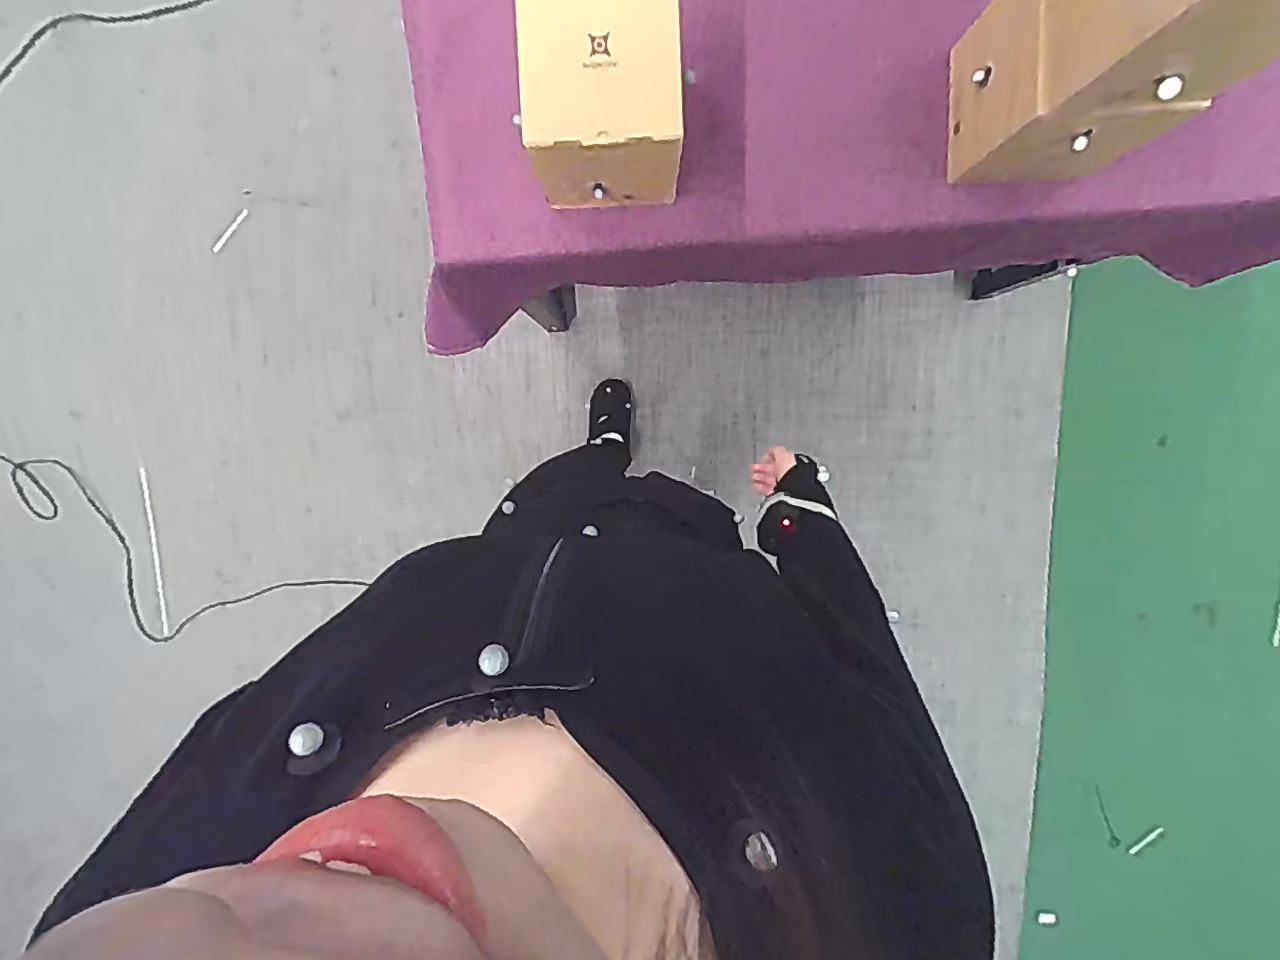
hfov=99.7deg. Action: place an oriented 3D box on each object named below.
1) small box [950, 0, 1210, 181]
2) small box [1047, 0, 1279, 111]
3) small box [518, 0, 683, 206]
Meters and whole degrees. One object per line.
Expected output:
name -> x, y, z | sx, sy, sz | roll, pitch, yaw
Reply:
small box -> 0.481, -0.460, 0.613 | 0.179, 0.176, 0.168 | -2, 97, 1
small box -> 0.478, -0.449, 0.449 | 0.168, 0.176, 0.179 | -4, 97, 2
small box -> -0.040, -0.442, 0.624 | 0.168, 0.176, 0.179 | -2, 97, 1
